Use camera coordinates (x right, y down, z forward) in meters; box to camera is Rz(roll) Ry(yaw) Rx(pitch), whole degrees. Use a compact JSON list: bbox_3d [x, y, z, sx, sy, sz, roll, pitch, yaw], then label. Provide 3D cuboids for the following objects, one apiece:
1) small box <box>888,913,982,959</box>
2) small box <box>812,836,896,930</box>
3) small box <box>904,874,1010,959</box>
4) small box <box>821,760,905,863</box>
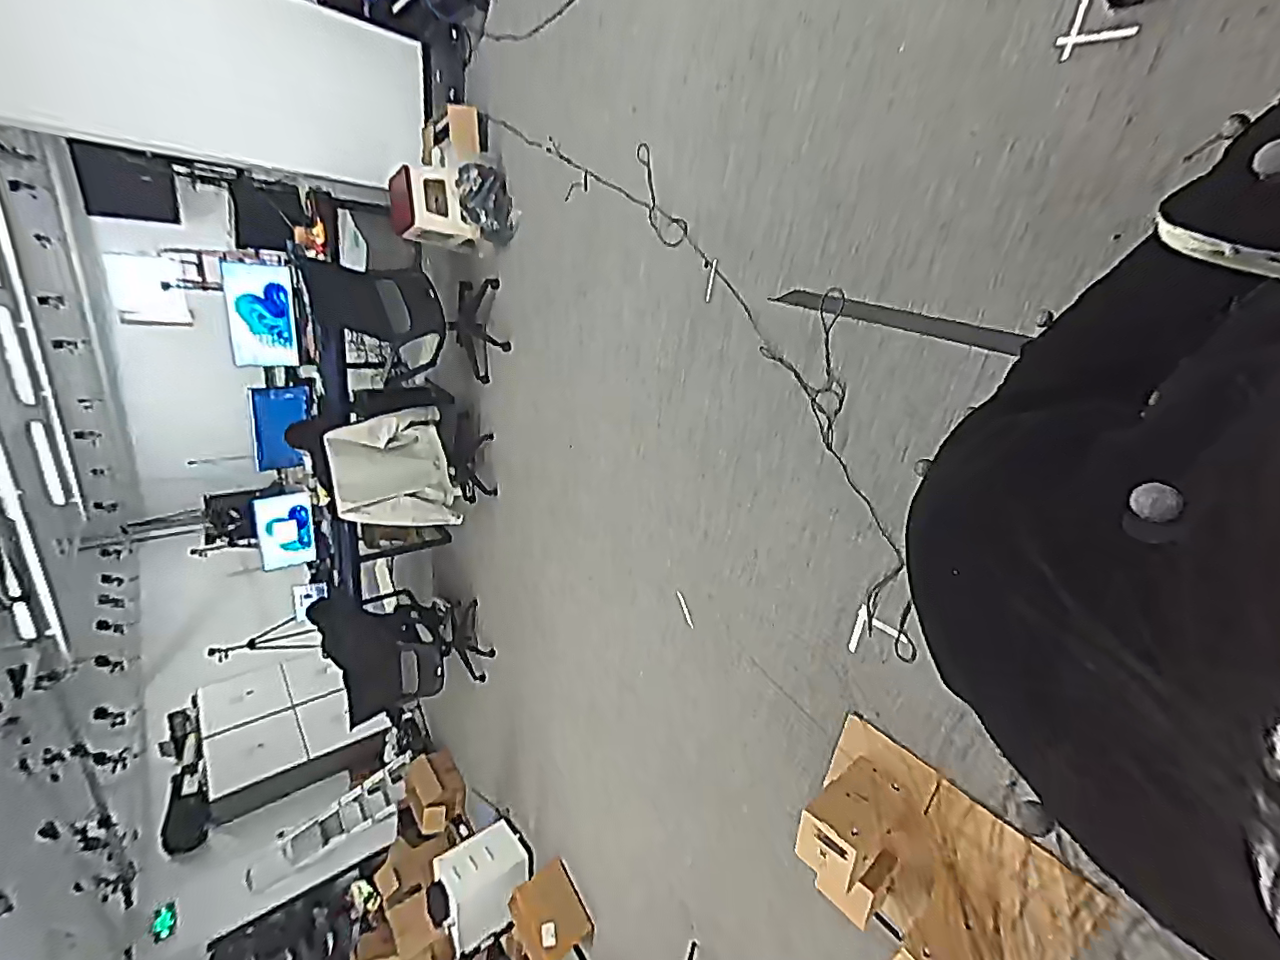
[{"bbox_3d":[0.754,1.270,1.389,0.179,0.176,0.168,34,123,39],"label":"small box"},{"bbox_3d":[0.684,1.261,1.732,0.179,0.176,0.168,24,117,44],"label":"small box"},{"bbox_3d":[0.877,1.243,1.495,0.179,0.176,0.168,33,122,40],"label":"small box"},{"bbox_3d":[0.689,1.008,1.663,0.168,0.176,0.179,25,117,44],"label":"small box"}]
